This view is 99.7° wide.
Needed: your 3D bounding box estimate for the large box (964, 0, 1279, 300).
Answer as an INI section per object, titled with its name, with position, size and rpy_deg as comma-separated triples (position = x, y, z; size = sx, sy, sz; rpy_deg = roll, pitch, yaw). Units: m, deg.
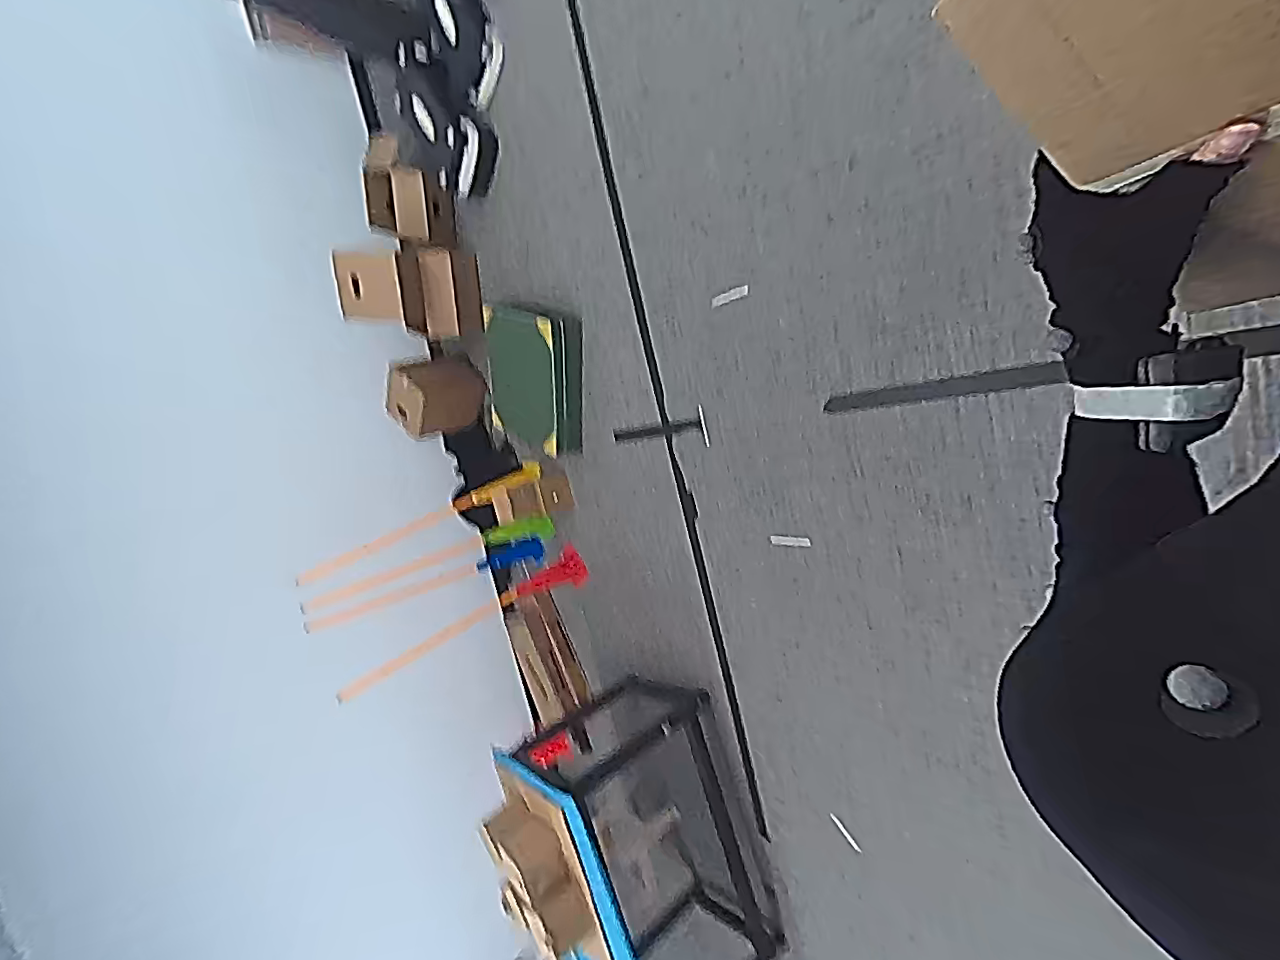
[large box]
position = 0.417, -0.325, 0.182
size = 0.408, 0.320, 0.320
rpy_deg = 0, 70, 62
